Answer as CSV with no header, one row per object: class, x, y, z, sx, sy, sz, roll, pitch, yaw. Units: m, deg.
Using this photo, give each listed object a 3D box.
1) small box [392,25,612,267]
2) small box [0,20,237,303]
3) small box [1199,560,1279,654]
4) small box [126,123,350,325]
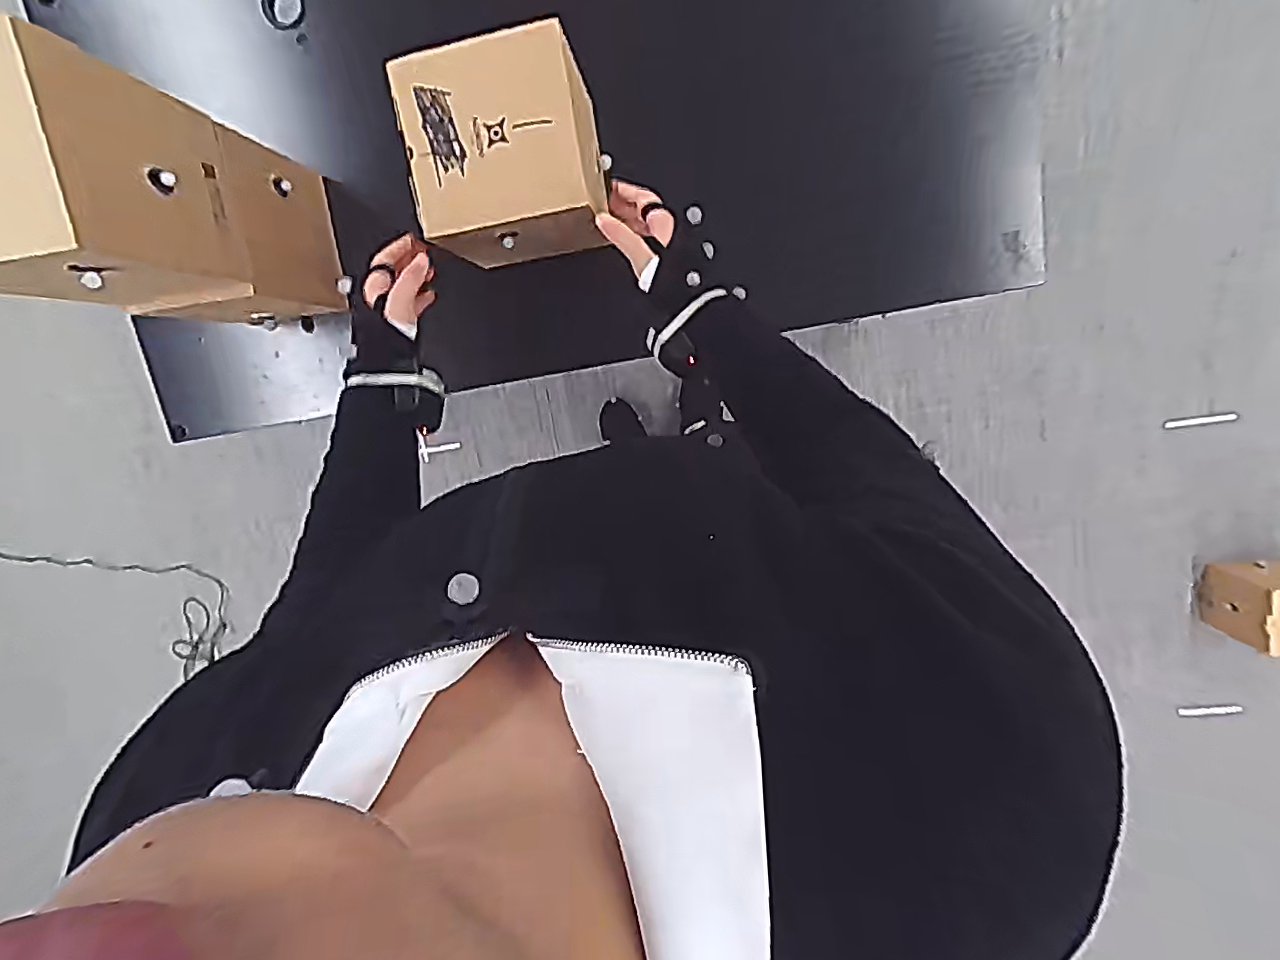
small box,-0.138,-0.350,0.605,0.179,0.176,0.168,-8,101,7
small box,-0.515,-0.264,0.495,0.179,0.176,0.168,-5,100,8
small box,1.528,0.304,1.316,0.179,0.176,0.168,-6,101,8
small box,-0.491,-0.292,0.656,0.168,0.176,0.179,-5,102,8
